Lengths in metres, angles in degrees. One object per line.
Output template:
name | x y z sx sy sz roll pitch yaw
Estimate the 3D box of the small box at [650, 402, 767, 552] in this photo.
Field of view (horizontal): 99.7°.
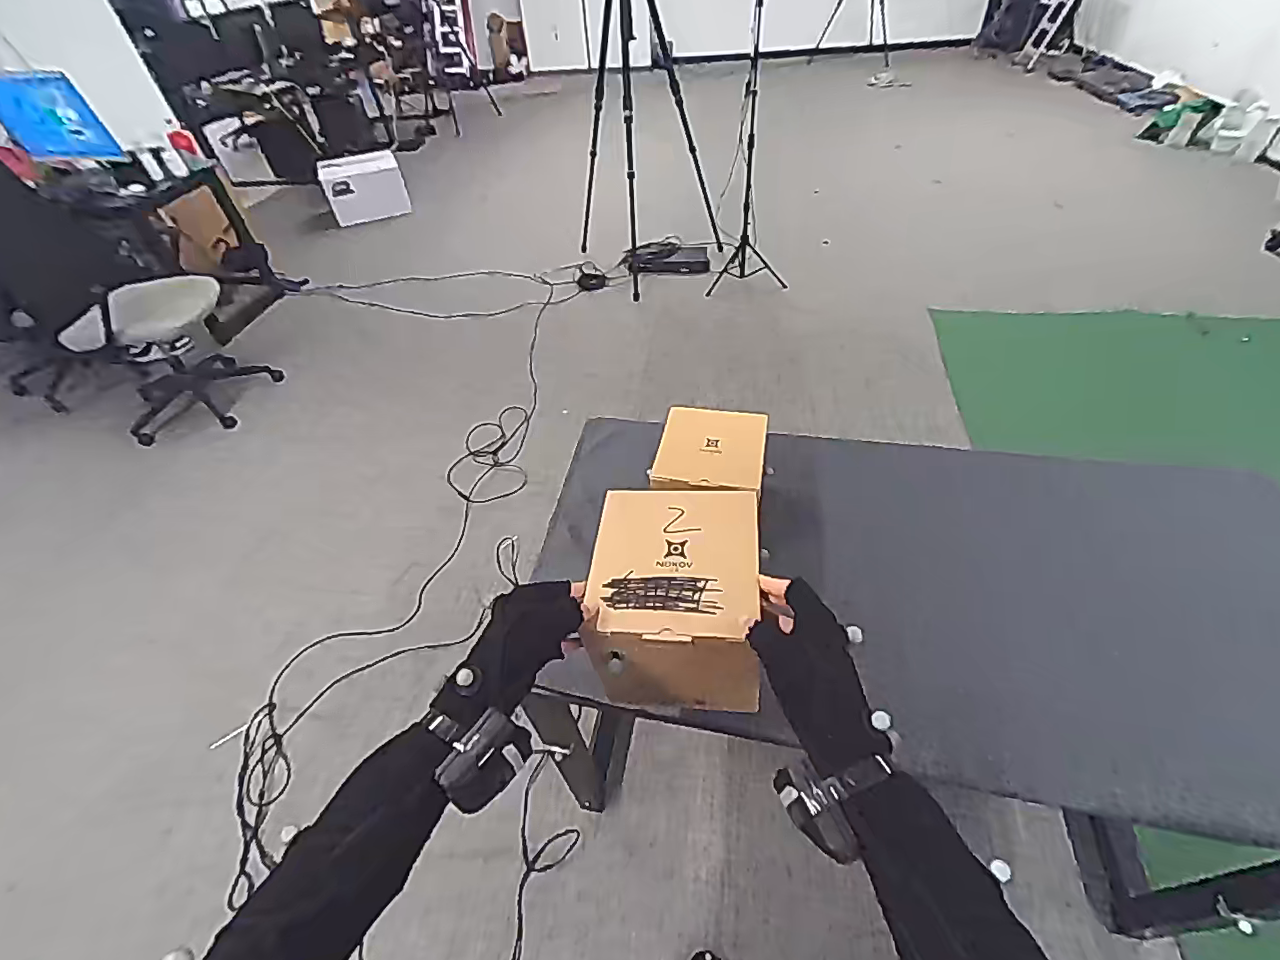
small box | 0.115 -0.005 0.910 0.168 0.176 0.179 7 48 11
